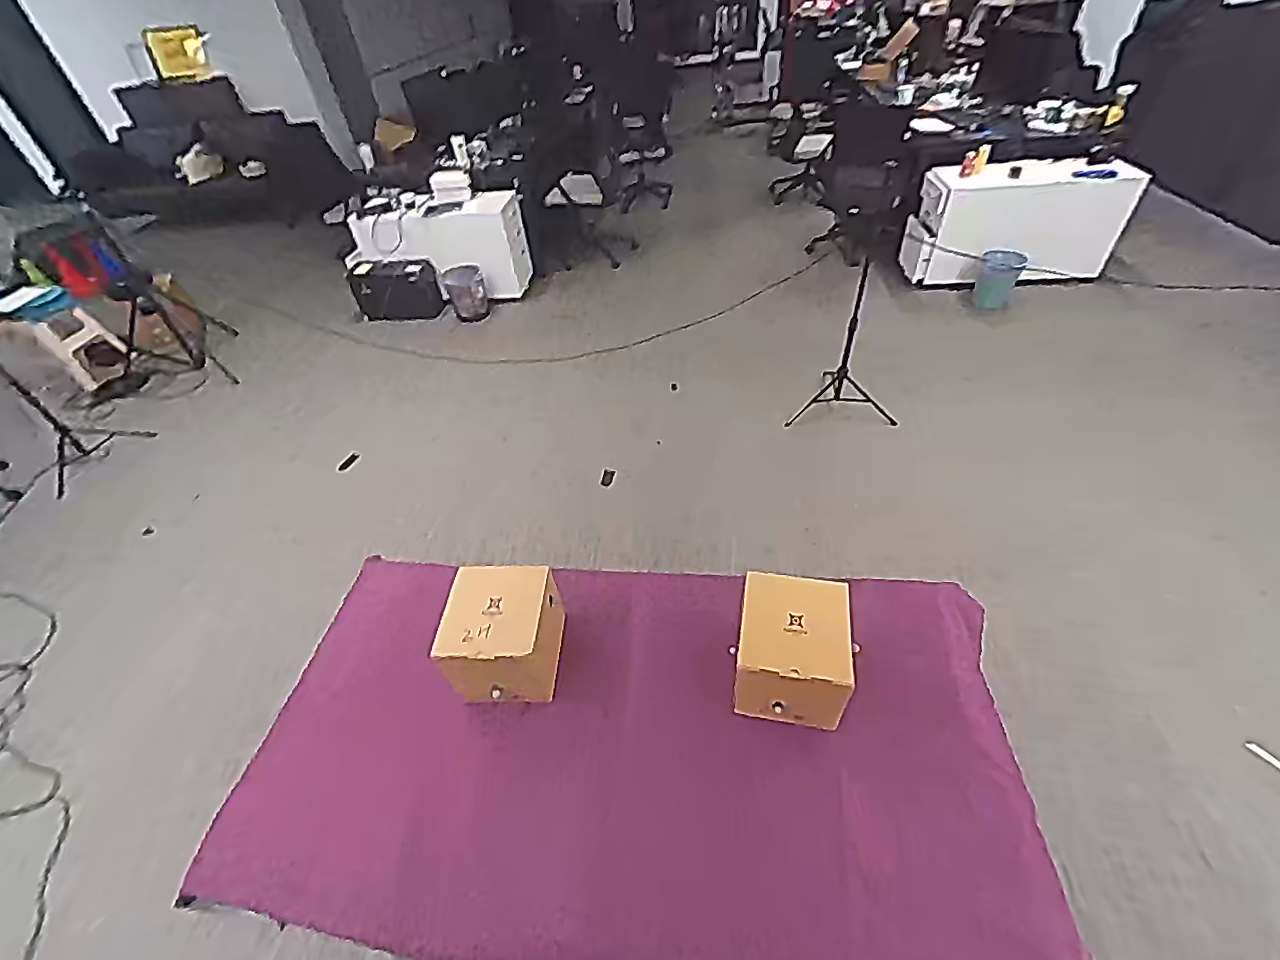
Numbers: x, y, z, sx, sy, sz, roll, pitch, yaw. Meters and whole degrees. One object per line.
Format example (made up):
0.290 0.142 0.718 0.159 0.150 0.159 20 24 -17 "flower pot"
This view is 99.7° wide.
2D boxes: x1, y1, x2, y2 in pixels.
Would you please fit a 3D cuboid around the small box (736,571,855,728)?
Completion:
0.249 0.279 0.893 0.168 0.176 0.179 5 46 12 "small box"

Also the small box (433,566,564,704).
-0.235 0.271 0.954 0.168 0.176 0.179 -1 44 5 "small box"
